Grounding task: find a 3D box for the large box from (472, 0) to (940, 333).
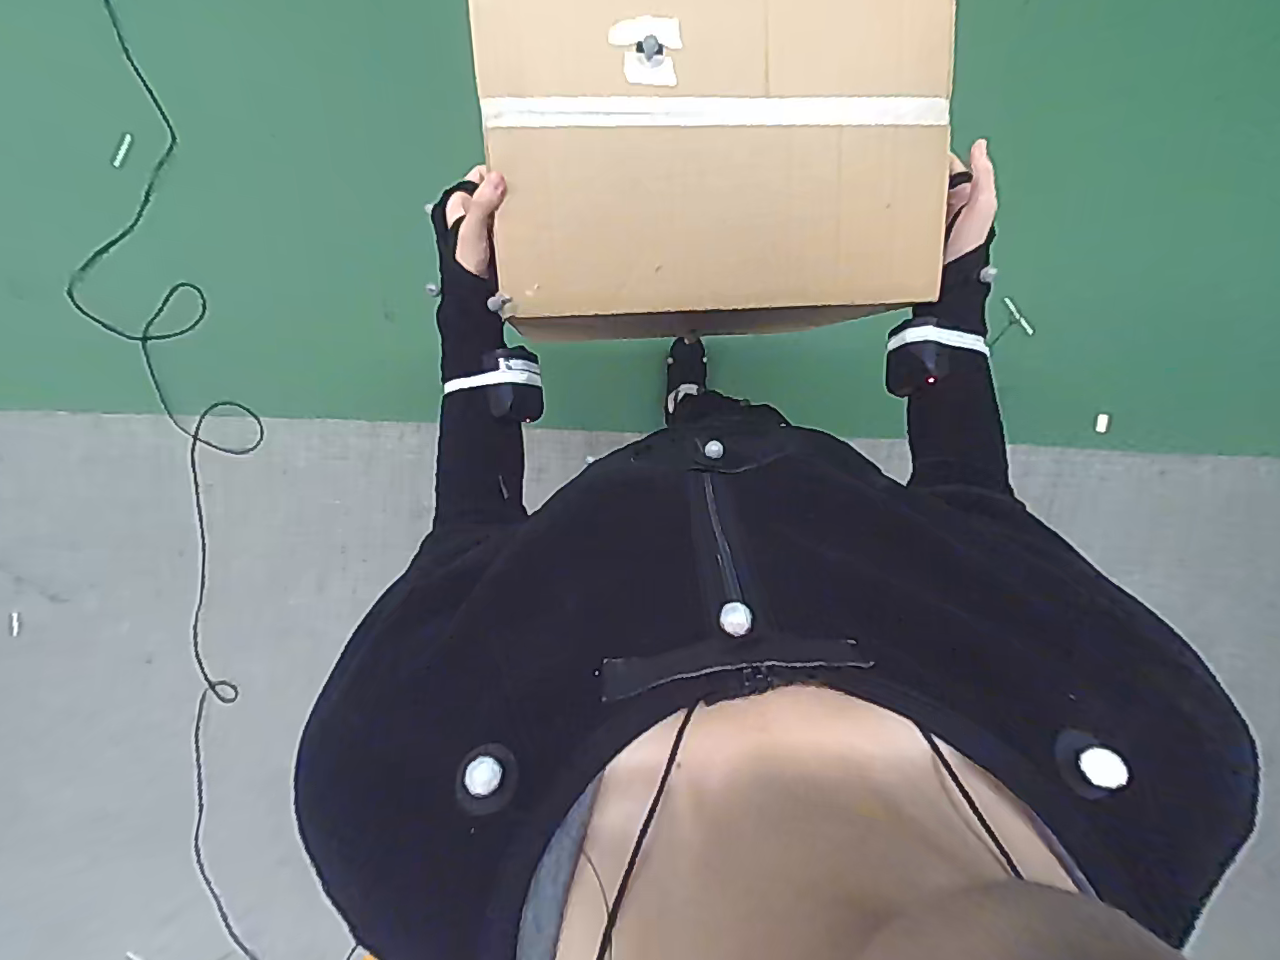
[{"bbox_3d":[0.053,-0.342,0.612,0.408,0.320,0.320,-4,101,-6],"label":"large box"}]
